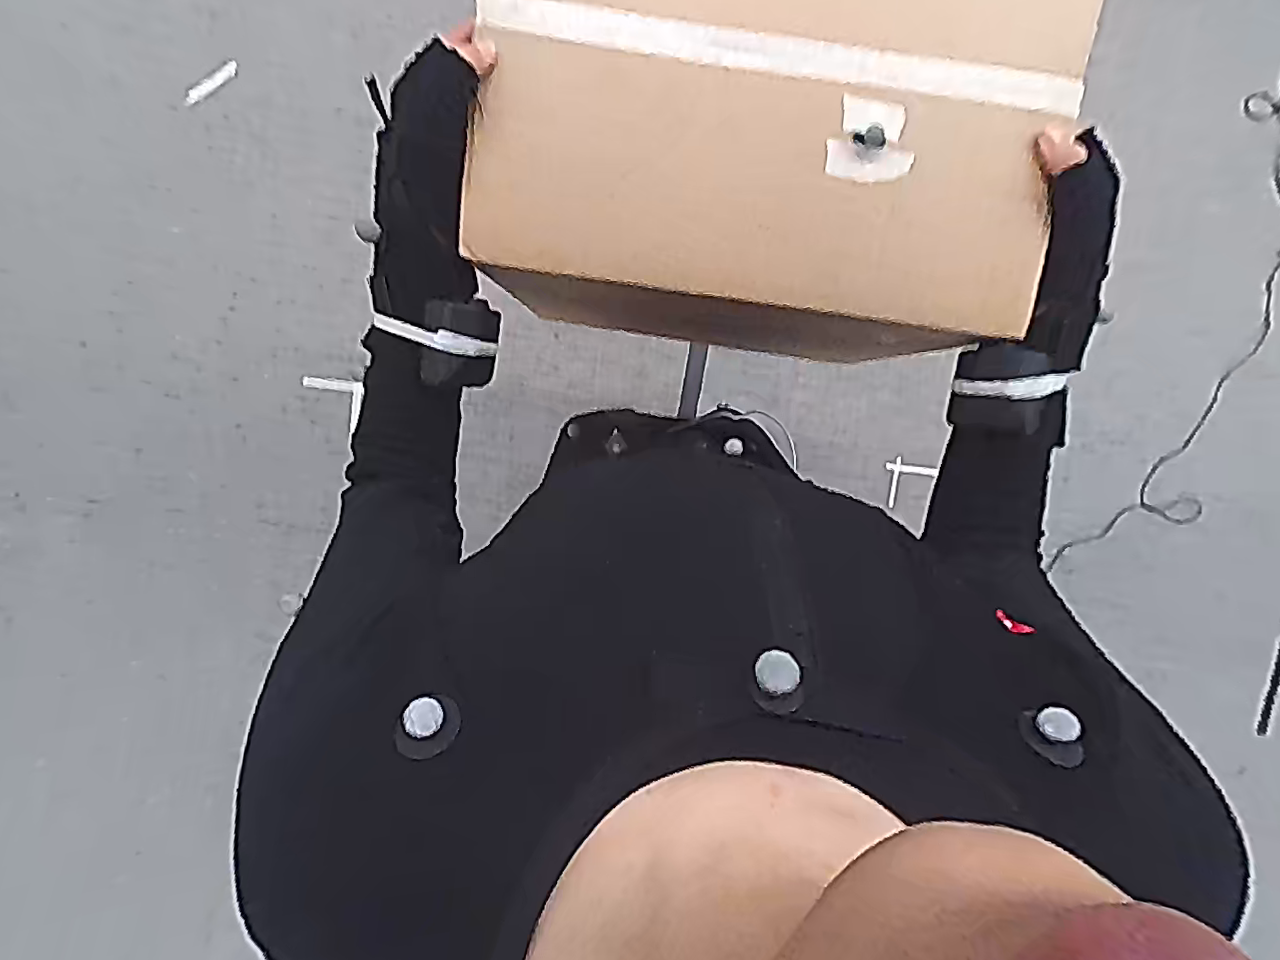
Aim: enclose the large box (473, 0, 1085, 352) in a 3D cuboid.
[{"bbox_3d":[0.089,-0.310,0.514,0.408,0.320,0.320,7,100,-2],"label":"large box"}]
